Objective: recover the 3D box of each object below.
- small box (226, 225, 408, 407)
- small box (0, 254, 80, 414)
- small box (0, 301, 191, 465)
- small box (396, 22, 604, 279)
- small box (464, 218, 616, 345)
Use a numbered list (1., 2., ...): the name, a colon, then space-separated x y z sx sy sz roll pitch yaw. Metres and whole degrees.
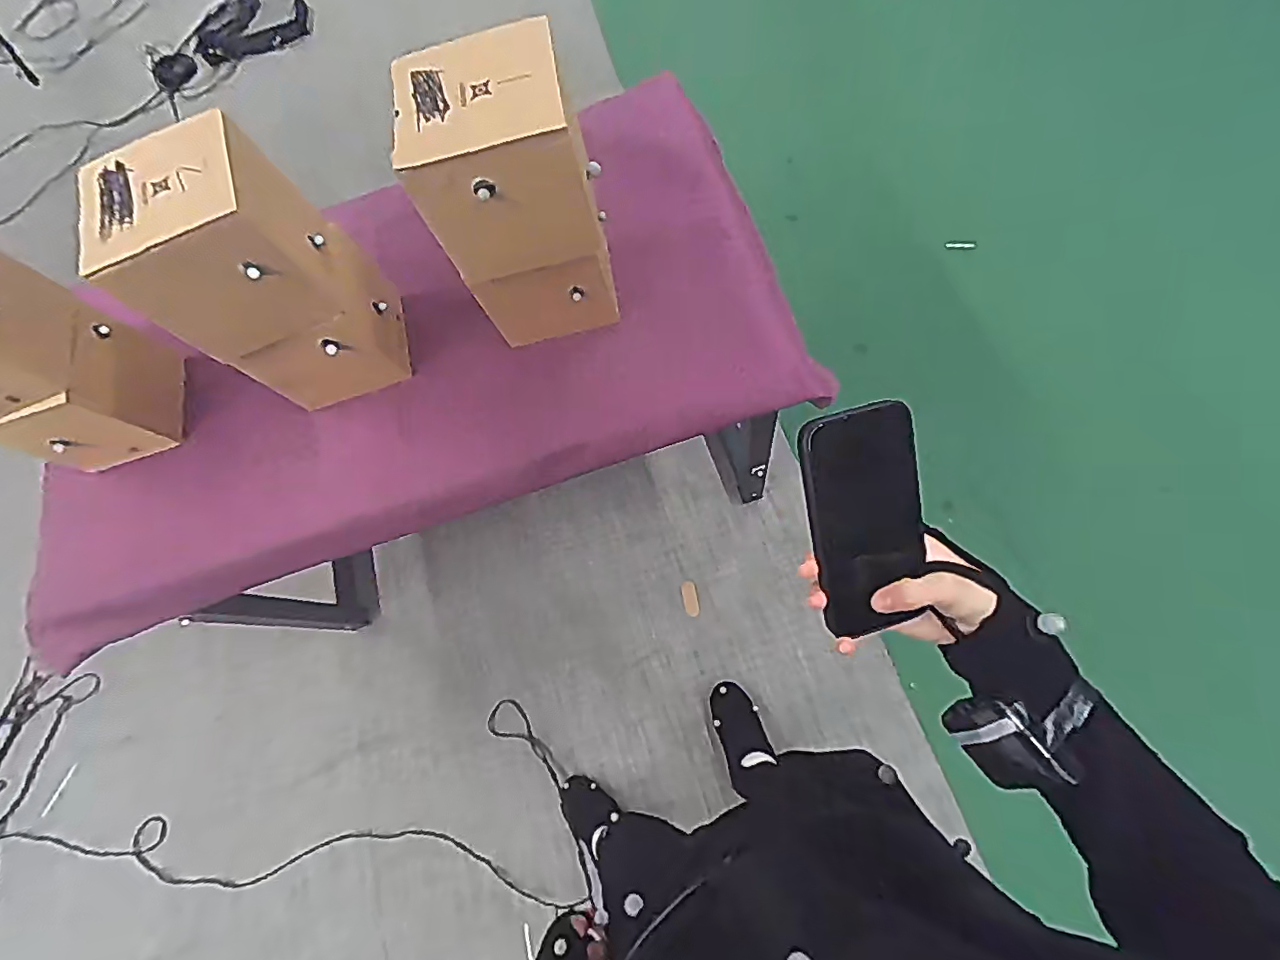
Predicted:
1. small box: -0.465 -0.232 0.802 0.179 0.176 0.168 -17 70 4
2. small box: -0.871 -0.194 0.684 0.168 0.176 0.179 -21 70 1
3. small box: -0.843 -0.136 0.836 0.168 0.176 0.179 -17 70 4
4. small box: -0.151 -0.359 0.618 0.179 0.176 0.168 -12 70 5
5. small box: -0.137 -0.319 0.777 0.179 0.176 0.168 -11 70 7
